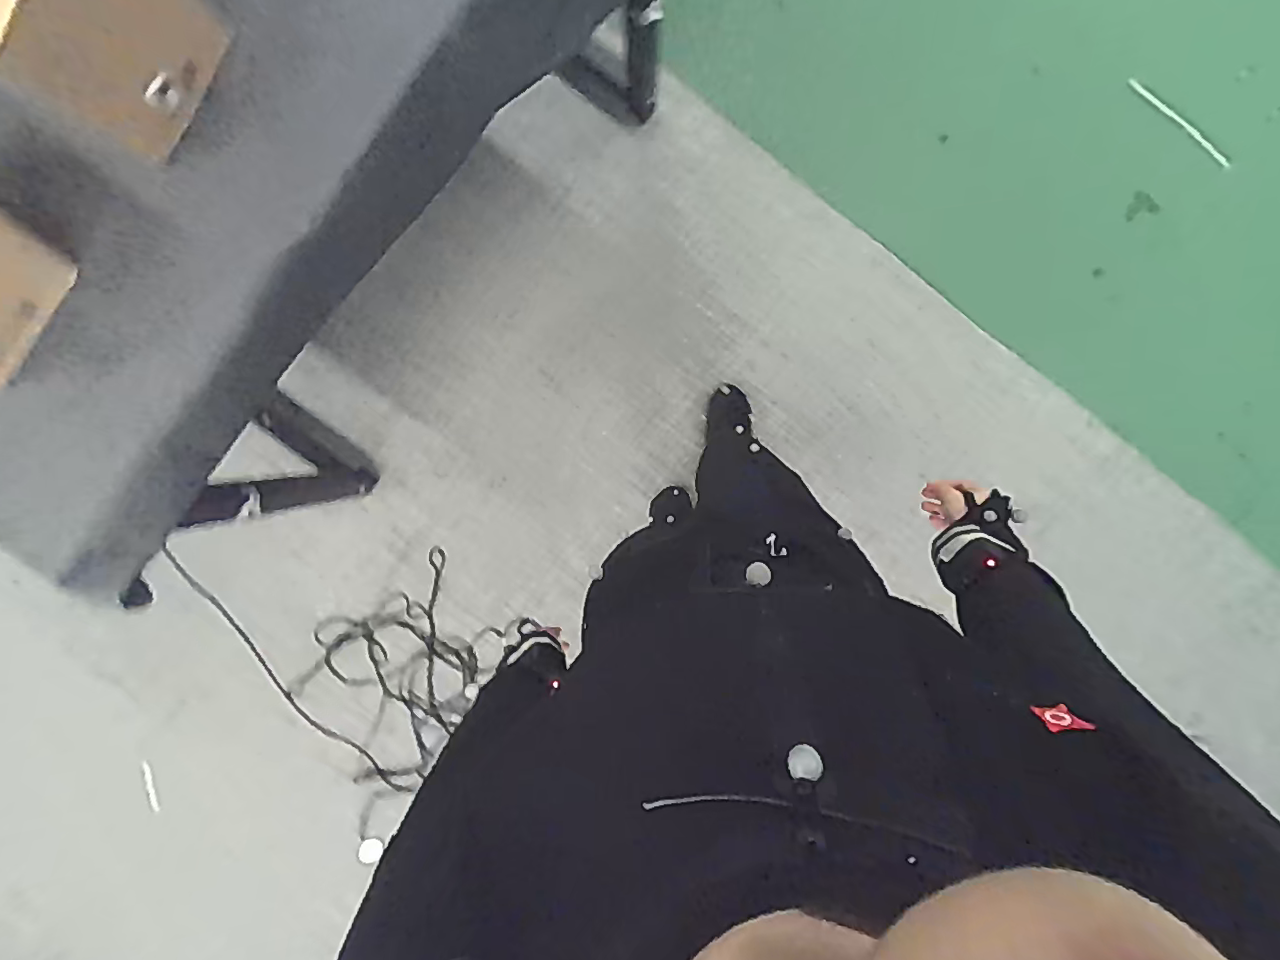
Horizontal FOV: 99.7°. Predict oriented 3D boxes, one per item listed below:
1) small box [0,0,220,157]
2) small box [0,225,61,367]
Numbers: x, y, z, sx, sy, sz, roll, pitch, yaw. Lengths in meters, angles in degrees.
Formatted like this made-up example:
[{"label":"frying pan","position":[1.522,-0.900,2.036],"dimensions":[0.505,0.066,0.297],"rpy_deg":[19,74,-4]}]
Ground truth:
[{"label":"small box","position":[-0.554,-0.443,0.496],"dimensions":[0.179,0.176,0.168],"rpy_deg":[29,94,-2]},{"label":"small box","position":[-0.734,-0.203,0.510],"dimensions":[0.179,0.176,0.168],"rpy_deg":[36,93,-1]}]
